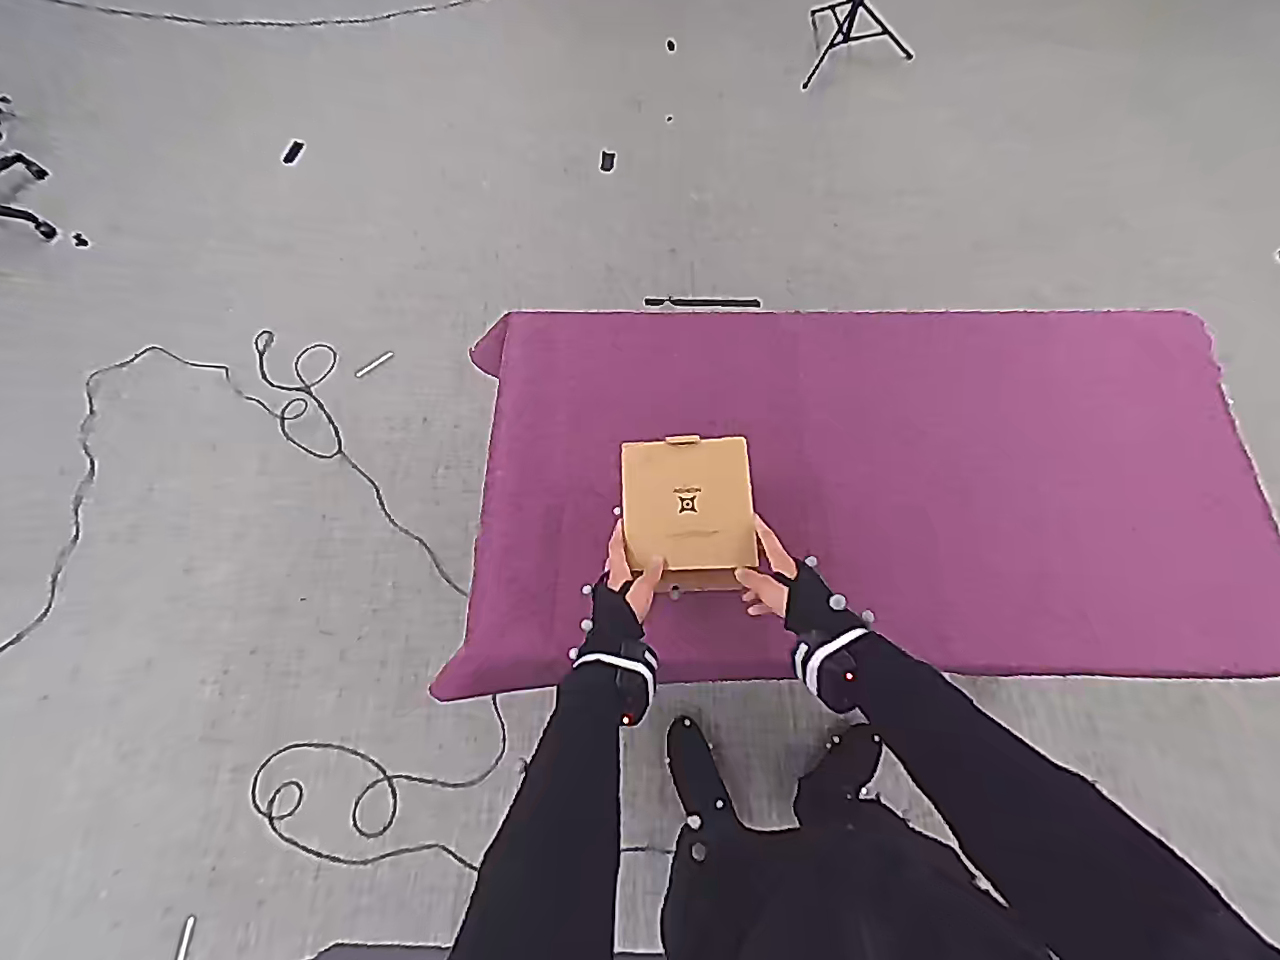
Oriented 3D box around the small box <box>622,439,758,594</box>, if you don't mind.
[{"bbox_3d":[0.060,0.057,0.750,0.168,0.176,0.179,-2,69,1],"label":"small box"}]
